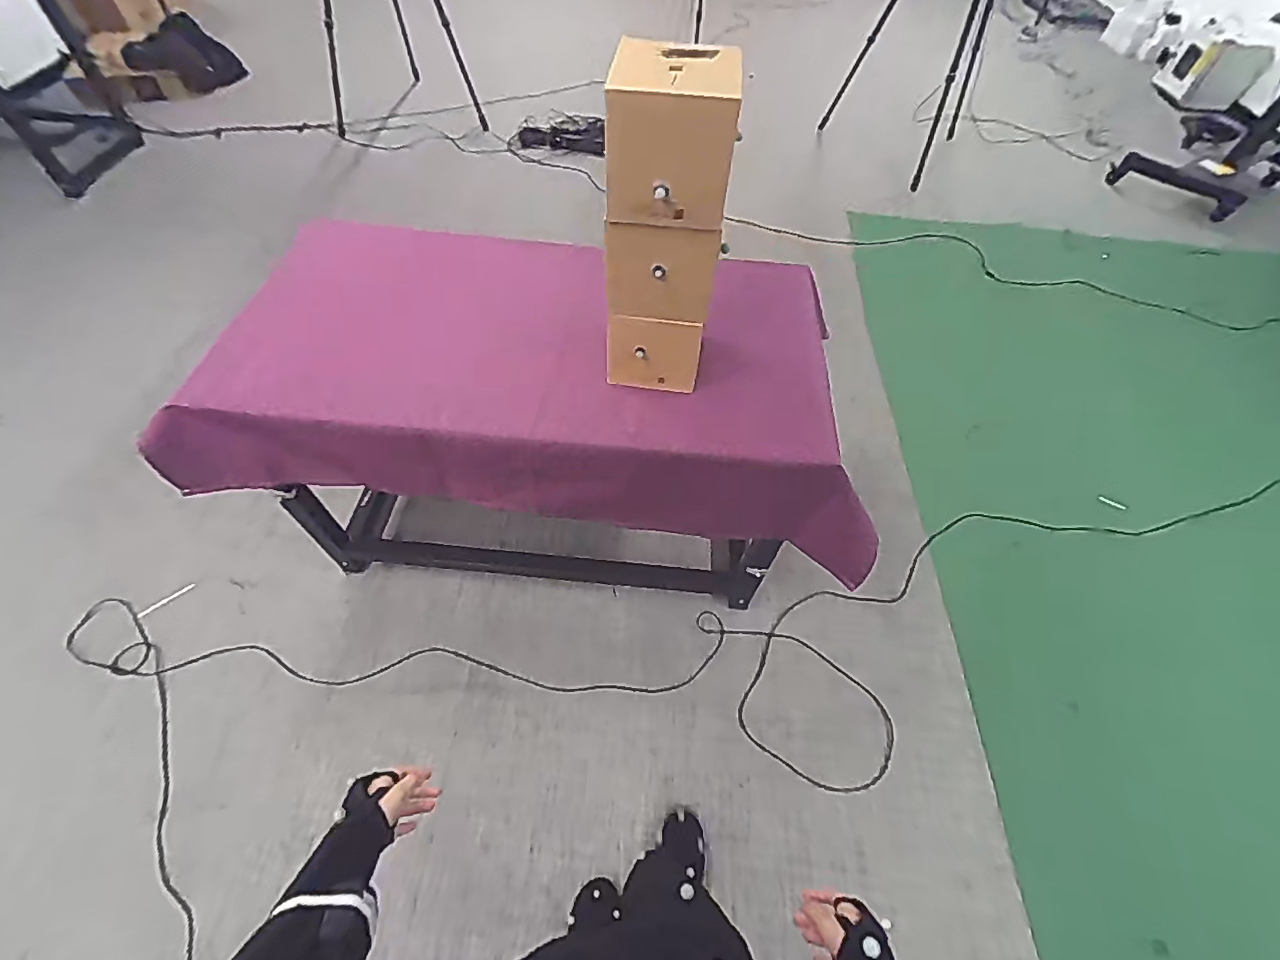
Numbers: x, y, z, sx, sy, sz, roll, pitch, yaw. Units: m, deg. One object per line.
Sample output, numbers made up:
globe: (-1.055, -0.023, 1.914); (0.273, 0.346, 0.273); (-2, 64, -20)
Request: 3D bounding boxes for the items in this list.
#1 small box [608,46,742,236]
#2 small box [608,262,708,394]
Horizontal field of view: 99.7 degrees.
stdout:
small box: (0.047, -0.475, 0.762); (0.168, 0.176, 0.179); (6, 55, 2)
small box: (0.034, -0.285, 1.030); (0.168, 0.176, 0.179); (7, 54, 2)
